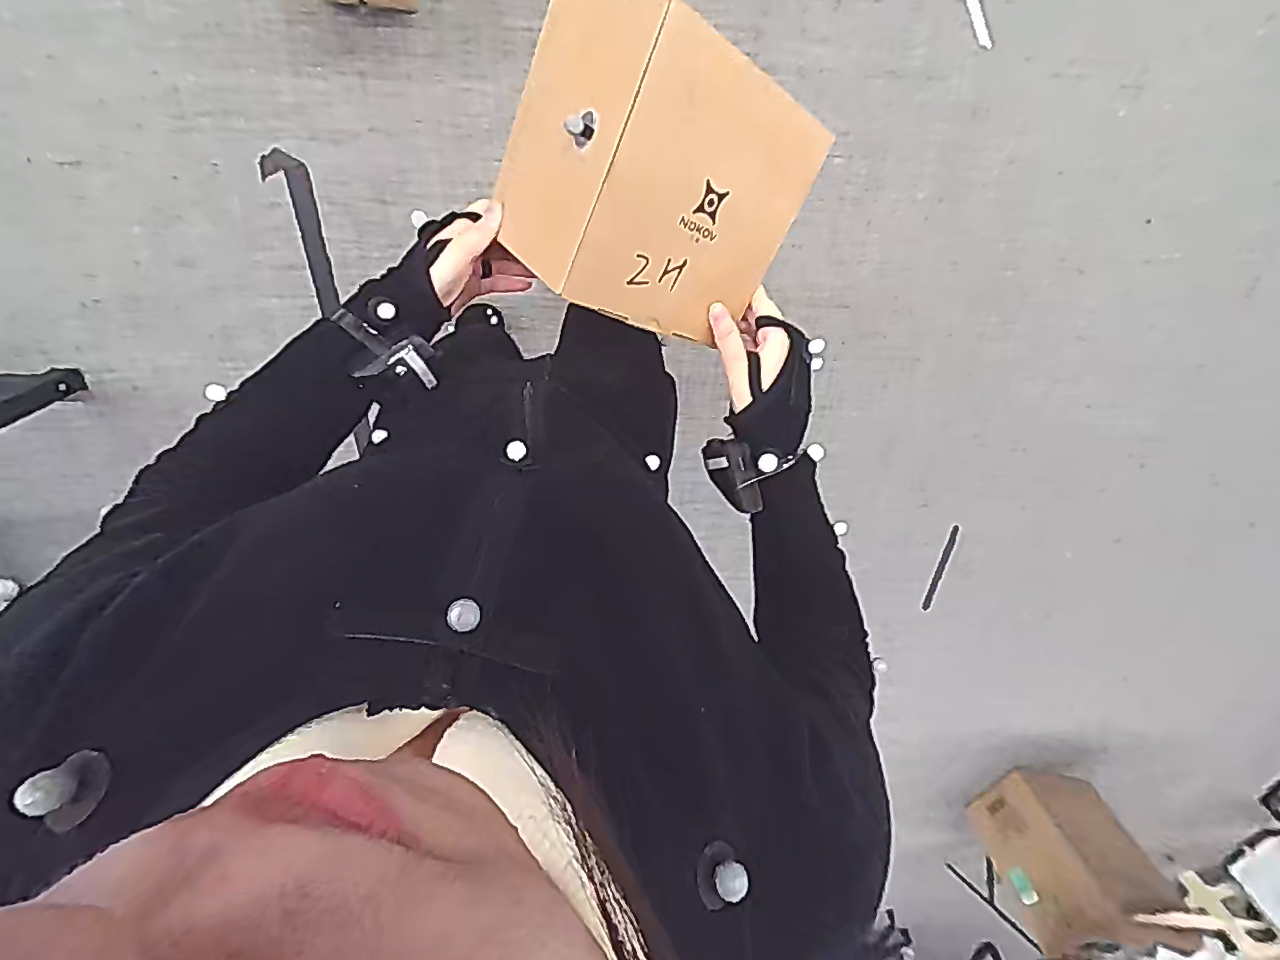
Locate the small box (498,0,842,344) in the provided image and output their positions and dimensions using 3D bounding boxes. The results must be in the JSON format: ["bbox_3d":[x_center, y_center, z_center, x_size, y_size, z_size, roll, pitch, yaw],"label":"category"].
[{"bbox_3d":[0.009,-0.235,0.420,0.168,0.176,0.179,5,122,-40],"label":"small box"}]

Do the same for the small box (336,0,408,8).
[{"bbox_3d":[-0.490,-0.908,0.891,0.179,0.176,0.168,0,122,-7],"label":"small box"}]
